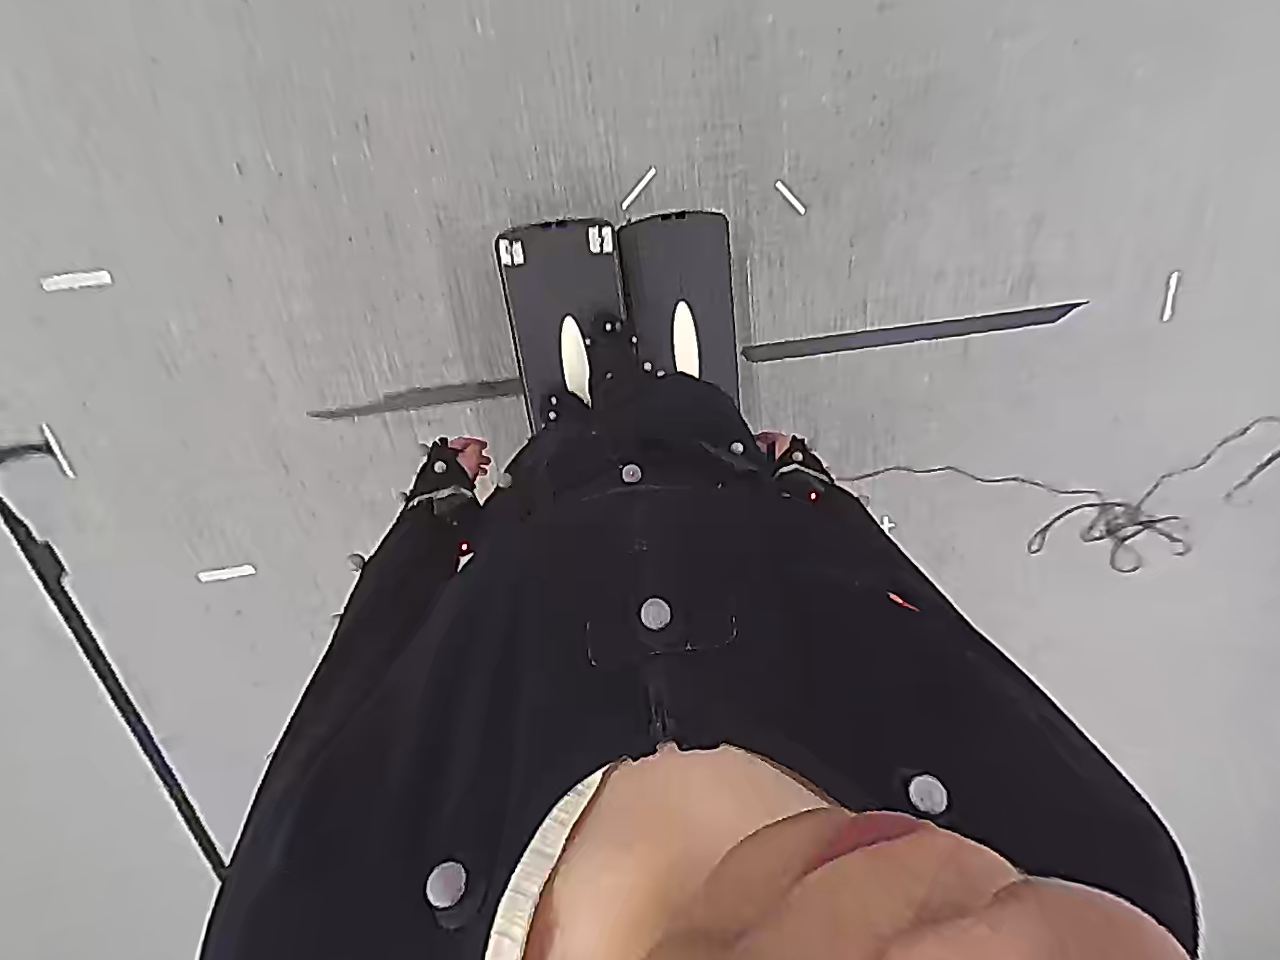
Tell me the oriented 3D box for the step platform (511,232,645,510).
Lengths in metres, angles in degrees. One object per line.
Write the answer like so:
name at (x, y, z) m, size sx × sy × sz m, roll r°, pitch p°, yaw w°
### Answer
step platform at (-0.148, -0.263, 1.389) m, size 0.286 × 0.204 × 0.684 m, roll -5°, pitch 106°, yaw -5°
